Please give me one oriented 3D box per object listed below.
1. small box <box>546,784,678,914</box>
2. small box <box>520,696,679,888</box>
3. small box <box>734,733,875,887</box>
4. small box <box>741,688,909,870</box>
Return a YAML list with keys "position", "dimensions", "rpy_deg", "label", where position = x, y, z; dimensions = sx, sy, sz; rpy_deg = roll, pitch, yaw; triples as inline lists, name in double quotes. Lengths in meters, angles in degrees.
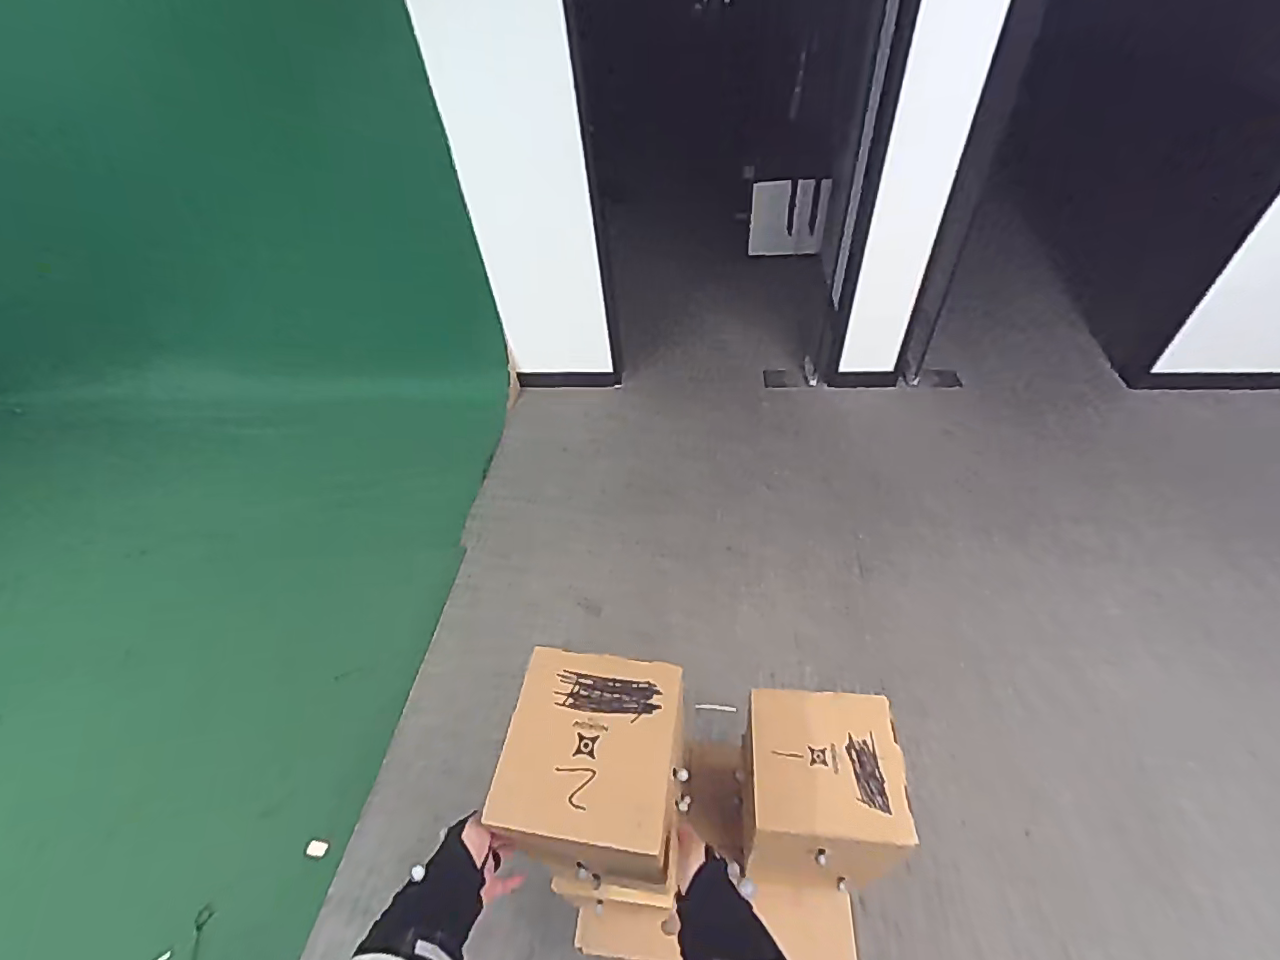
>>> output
- position: [-0.030, 0.537, 0.826]
  dimensions: [0.168, 0.176, 0.179]
  rpy_deg: [4, 47, 8]
  label: "small box"
- position: [-0.039, 0.415, 0.716]
  dimensions: [0.168, 0.176, 0.179]
  rpy_deg: [5, 47, 8]
  label: "small box"
- position: [0.238, 0.507, 0.830]
  dimensions: [0.179, 0.176, 0.168]
  rpy_deg: [0, 46, 8]
  label: "small box"
- position: [0.226, 0.394, 0.711]
  dimensions: [0.179, 0.176, 0.168]
  rpy_deg: [1, 46, 9]
  label: "small box"
